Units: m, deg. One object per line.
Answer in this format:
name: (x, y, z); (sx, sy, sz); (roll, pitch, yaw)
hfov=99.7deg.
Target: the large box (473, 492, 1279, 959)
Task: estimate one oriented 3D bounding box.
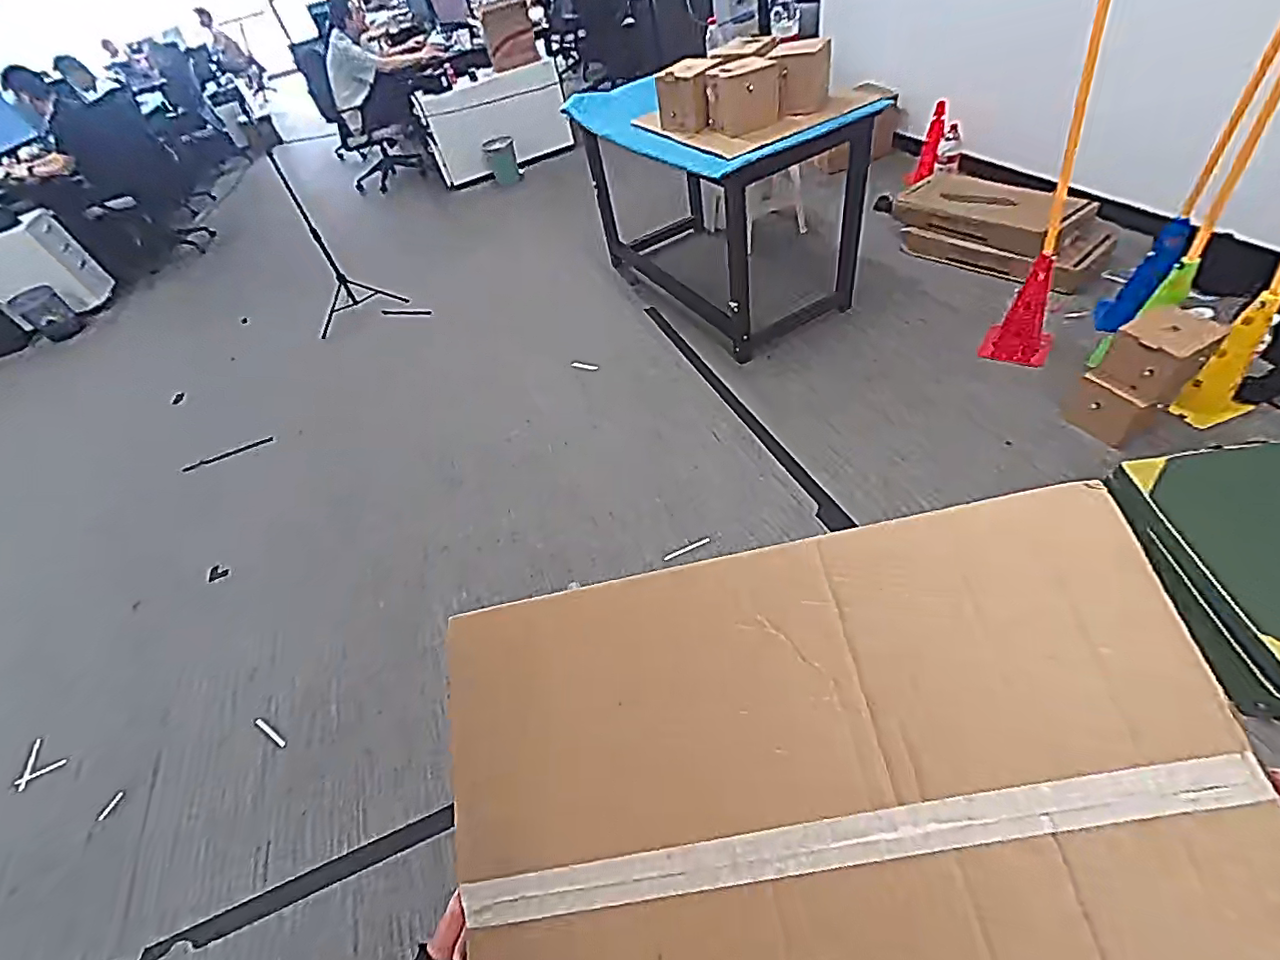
large box: (0.130, 0.243, 0.424); (0.408, 0.320, 0.320); (-13, 69, 6)
